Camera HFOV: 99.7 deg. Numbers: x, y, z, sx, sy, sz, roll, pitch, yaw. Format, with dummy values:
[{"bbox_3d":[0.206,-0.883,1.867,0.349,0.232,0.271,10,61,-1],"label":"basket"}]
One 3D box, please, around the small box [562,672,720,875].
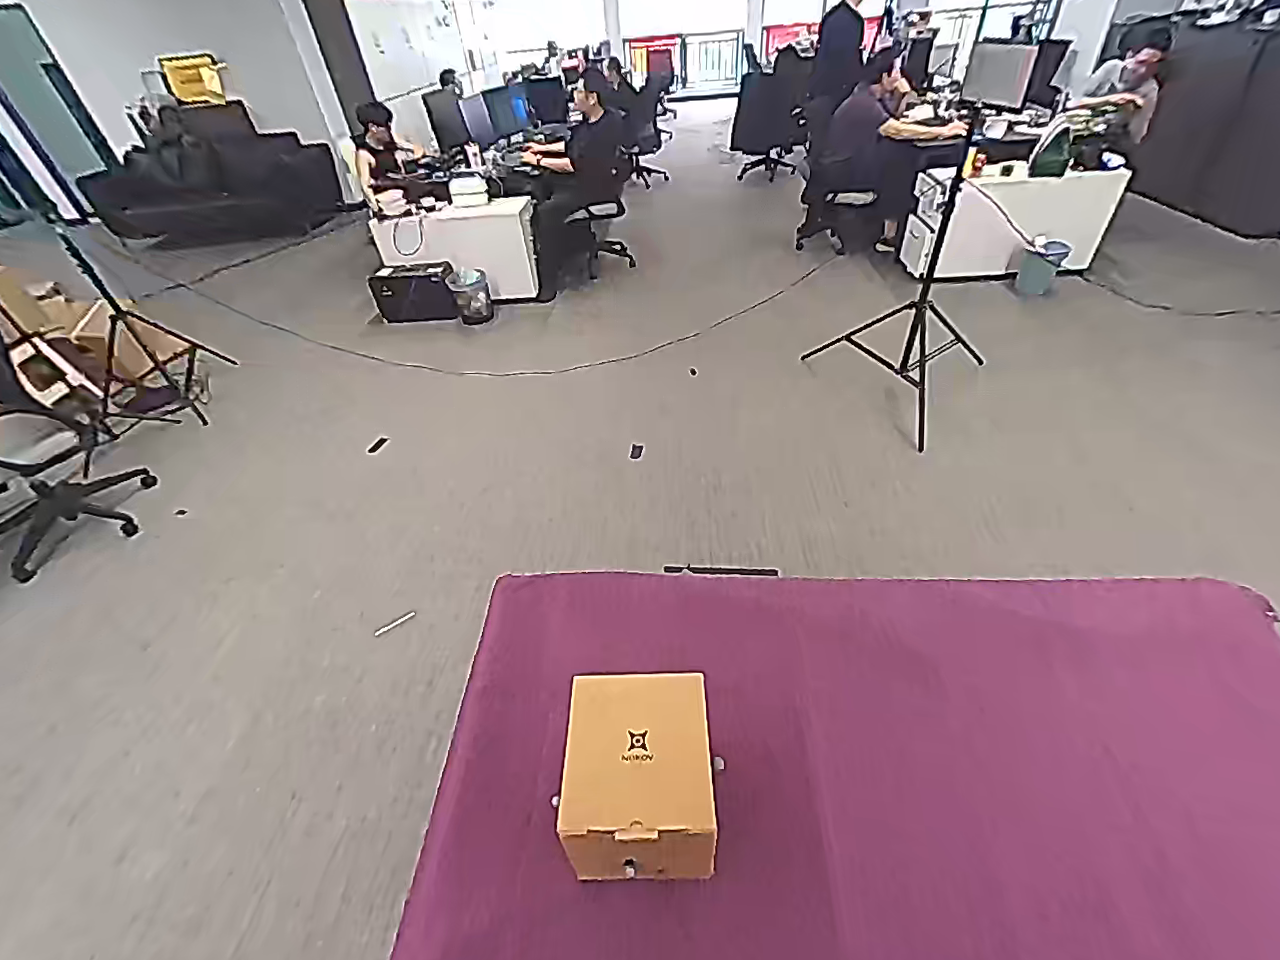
[{"bbox_3d":[0.004,0.360,0.667,0.168,0.176,0.179,-3,42,2],"label":"small box"}]
